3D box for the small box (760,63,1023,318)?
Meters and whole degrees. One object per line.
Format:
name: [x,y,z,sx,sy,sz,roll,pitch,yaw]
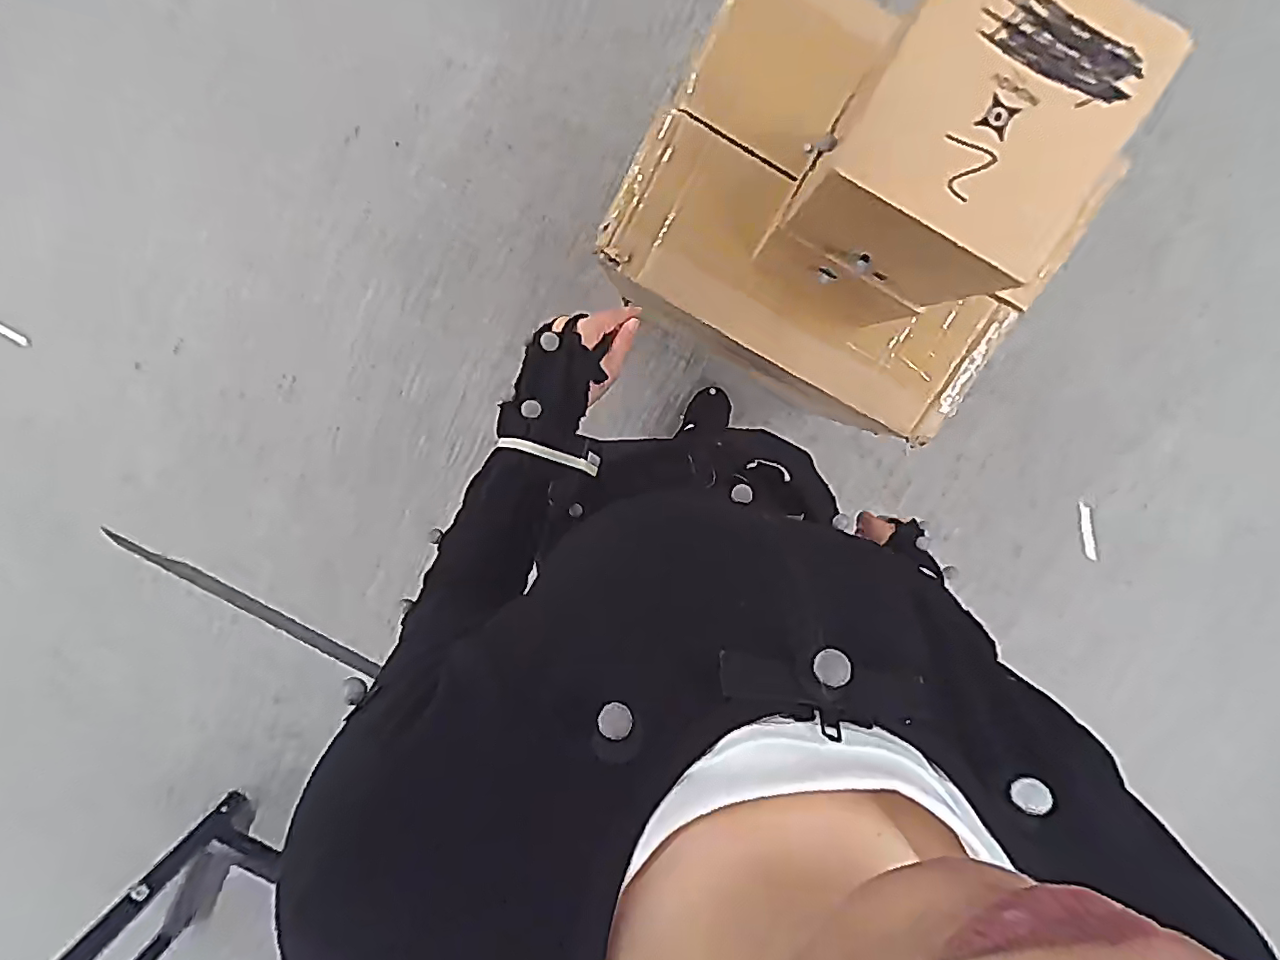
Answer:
small box: [0.254,-0.296,0.601,0.179,0.176,0.168,30,102,-3]
